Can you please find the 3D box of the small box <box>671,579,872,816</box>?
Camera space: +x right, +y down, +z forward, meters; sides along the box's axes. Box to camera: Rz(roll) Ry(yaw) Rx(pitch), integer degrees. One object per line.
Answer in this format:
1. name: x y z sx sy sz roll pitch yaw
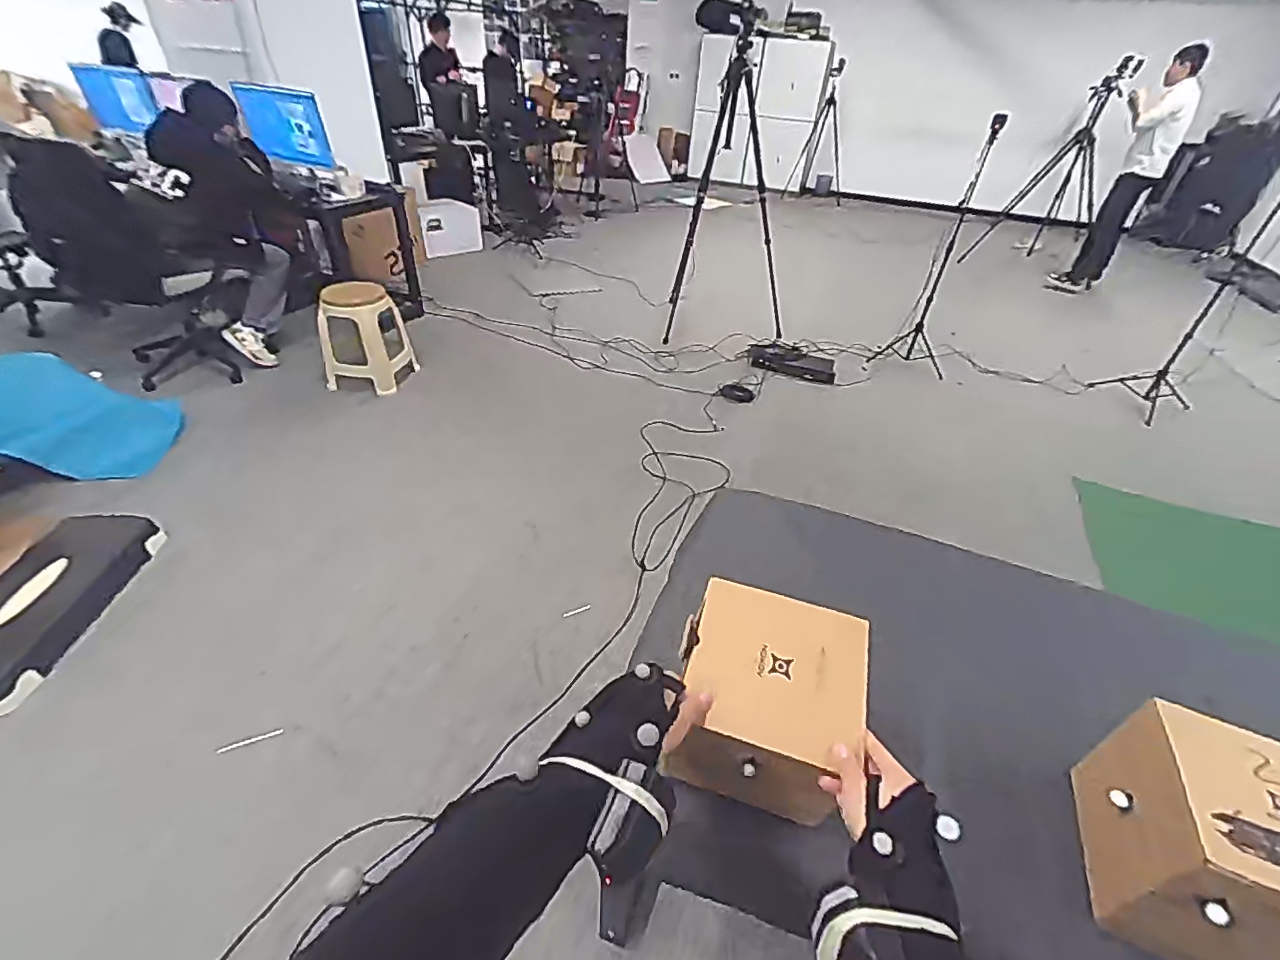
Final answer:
1. small box: 0.137 0.239 0.591 0.179 0.176 0.168 13 47 10
